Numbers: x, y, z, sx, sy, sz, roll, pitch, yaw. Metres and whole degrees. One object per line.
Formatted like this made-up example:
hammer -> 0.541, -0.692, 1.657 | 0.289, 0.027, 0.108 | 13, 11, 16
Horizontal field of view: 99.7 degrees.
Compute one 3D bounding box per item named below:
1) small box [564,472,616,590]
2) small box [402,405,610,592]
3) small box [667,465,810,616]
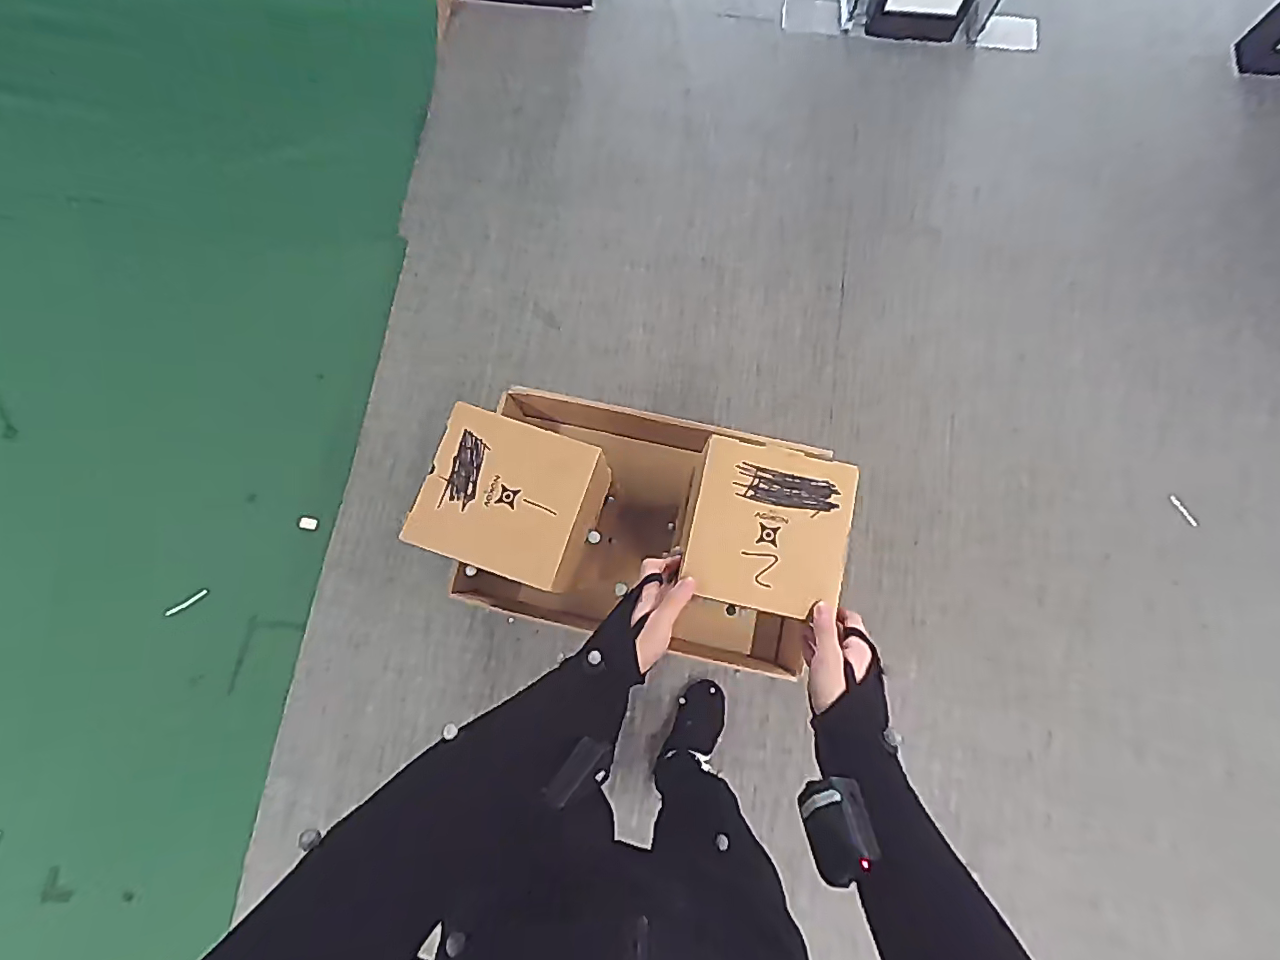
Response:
small box -> -0.138, 0.061, 0.823 | 0.168, 0.176, 0.179 | 15, 79, 4
small box -> -0.146, 0.033, 0.661 | 0.179, 0.176, 0.168 | 19, 80, 4
small box -> 0.138, 0.095, 0.810 | 0.168, 0.176, 0.179 | 13, 79, 3
